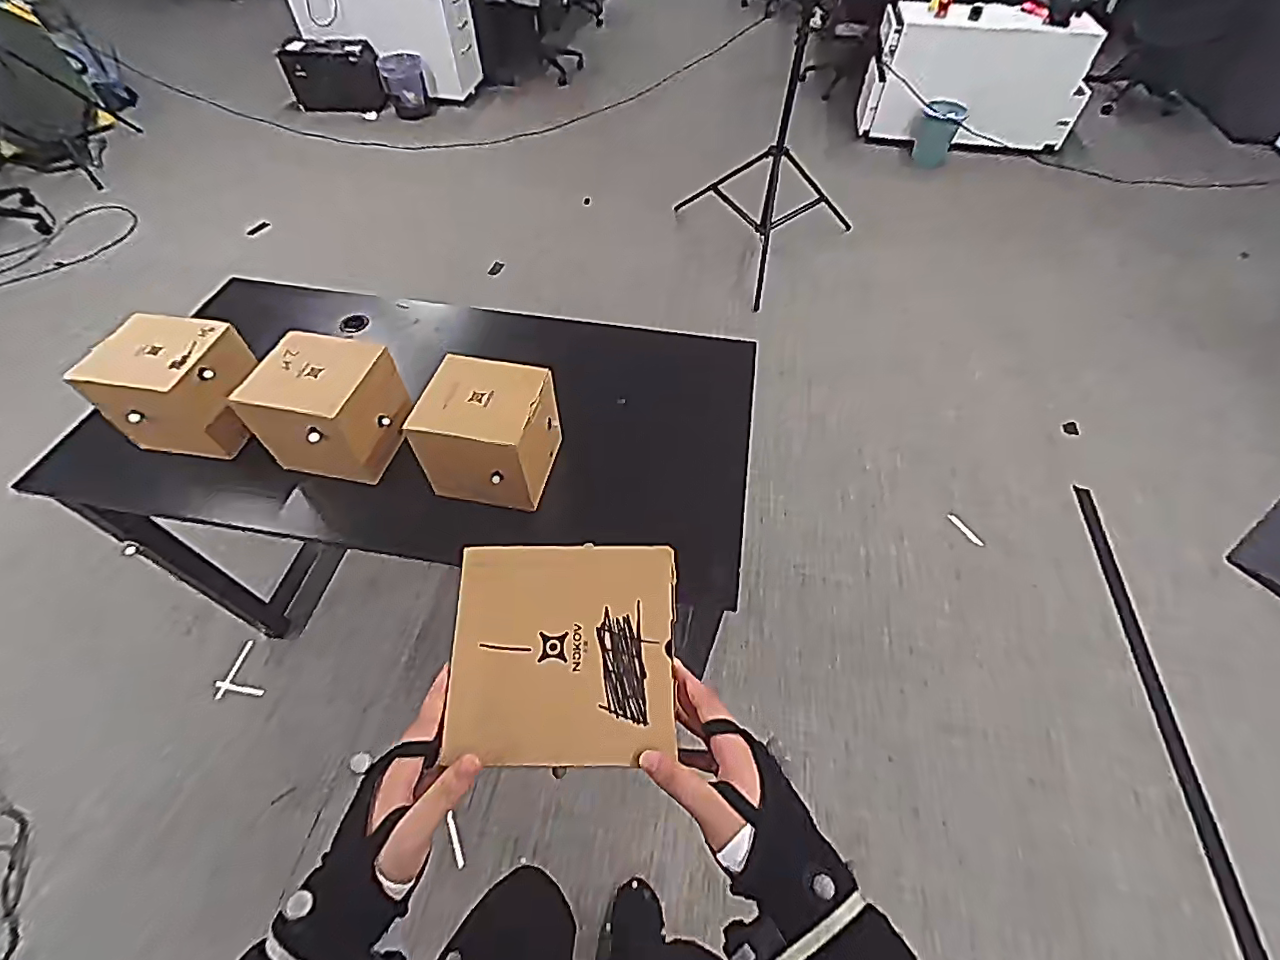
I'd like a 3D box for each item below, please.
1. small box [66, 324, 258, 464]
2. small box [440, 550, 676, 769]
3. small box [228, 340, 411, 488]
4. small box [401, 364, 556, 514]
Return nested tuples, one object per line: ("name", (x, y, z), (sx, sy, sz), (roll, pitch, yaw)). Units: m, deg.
("small box", (-0.782, -0.144, 0.928), (0.179, 0.176, 0.168), (6, 54, 4))
("small box", (-0.061, 0.165, 0.501), (0.179, 0.176, 0.168), (0, 68, 0))
("small box", (-0.513, -0.106, 0.902), (0.179, 0.176, 0.168), (9, 53, 6))
("small box", (-0.244, -0.062, 0.875), (0.179, 0.176, 0.168), (8, 52, 7))
